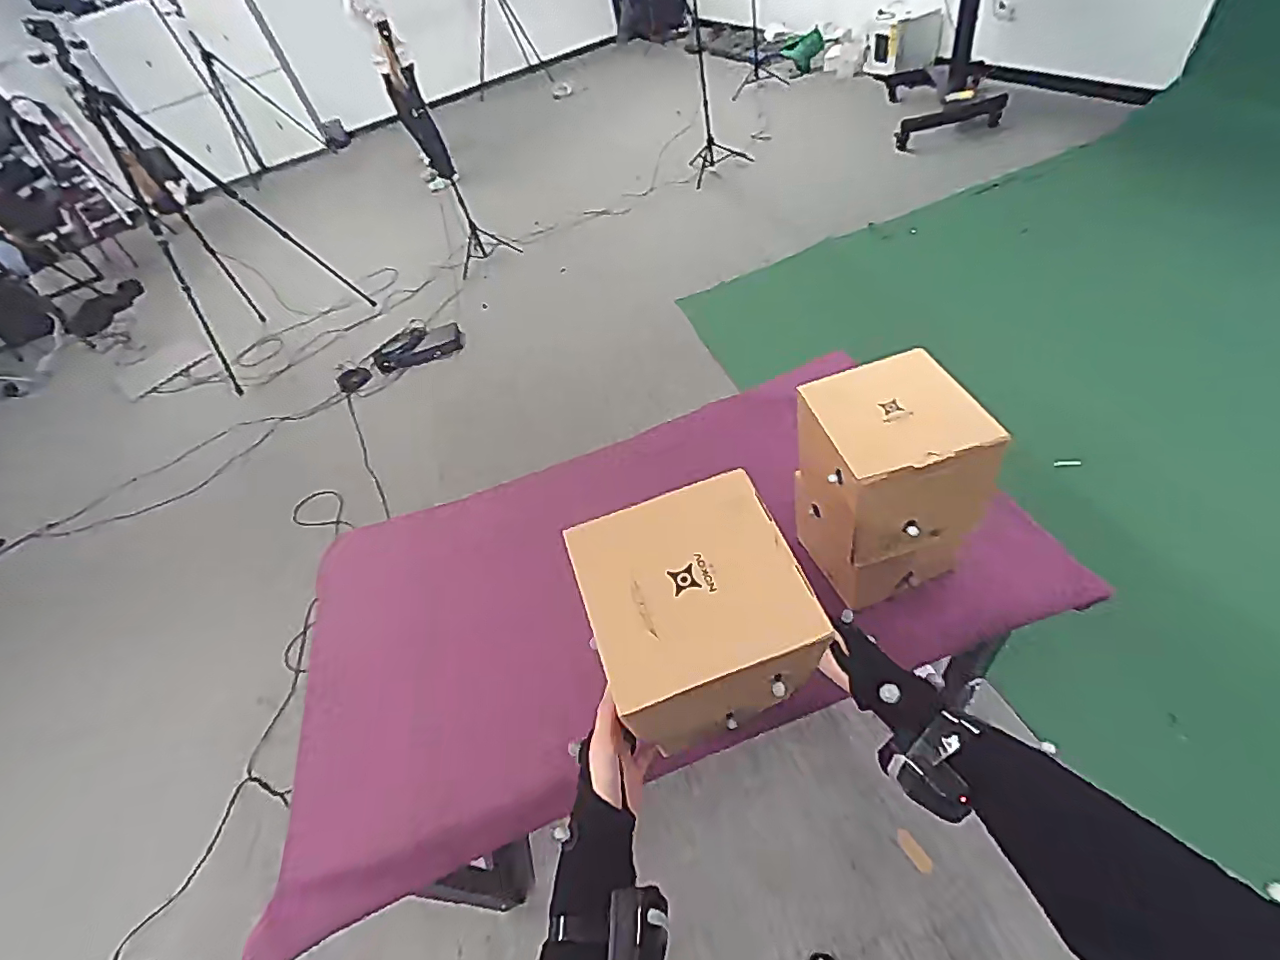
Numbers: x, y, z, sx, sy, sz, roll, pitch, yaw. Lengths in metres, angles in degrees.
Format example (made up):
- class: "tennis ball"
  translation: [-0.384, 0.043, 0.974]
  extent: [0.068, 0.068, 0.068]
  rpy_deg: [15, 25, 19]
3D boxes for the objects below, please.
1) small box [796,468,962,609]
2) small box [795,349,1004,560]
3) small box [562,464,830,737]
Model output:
- class: "small box"
  translation: [0.350, 0.061, 0.809]
  extent: [0.179, 0.176, 0.168]
  rpy_deg: [-23, 44, -3]
- class: "small box"
  translation: [0.304, -0.030, 0.679]
  extent: [0.168, 0.176, 0.179]
  rpy_deg: [-18, 46, 3]
- class: "small box"
  translation: [0.045, 0.118, 0.502]
  extent: [0.179, 0.176, 0.168]
  rpy_deg: [-19, 56, -4]
